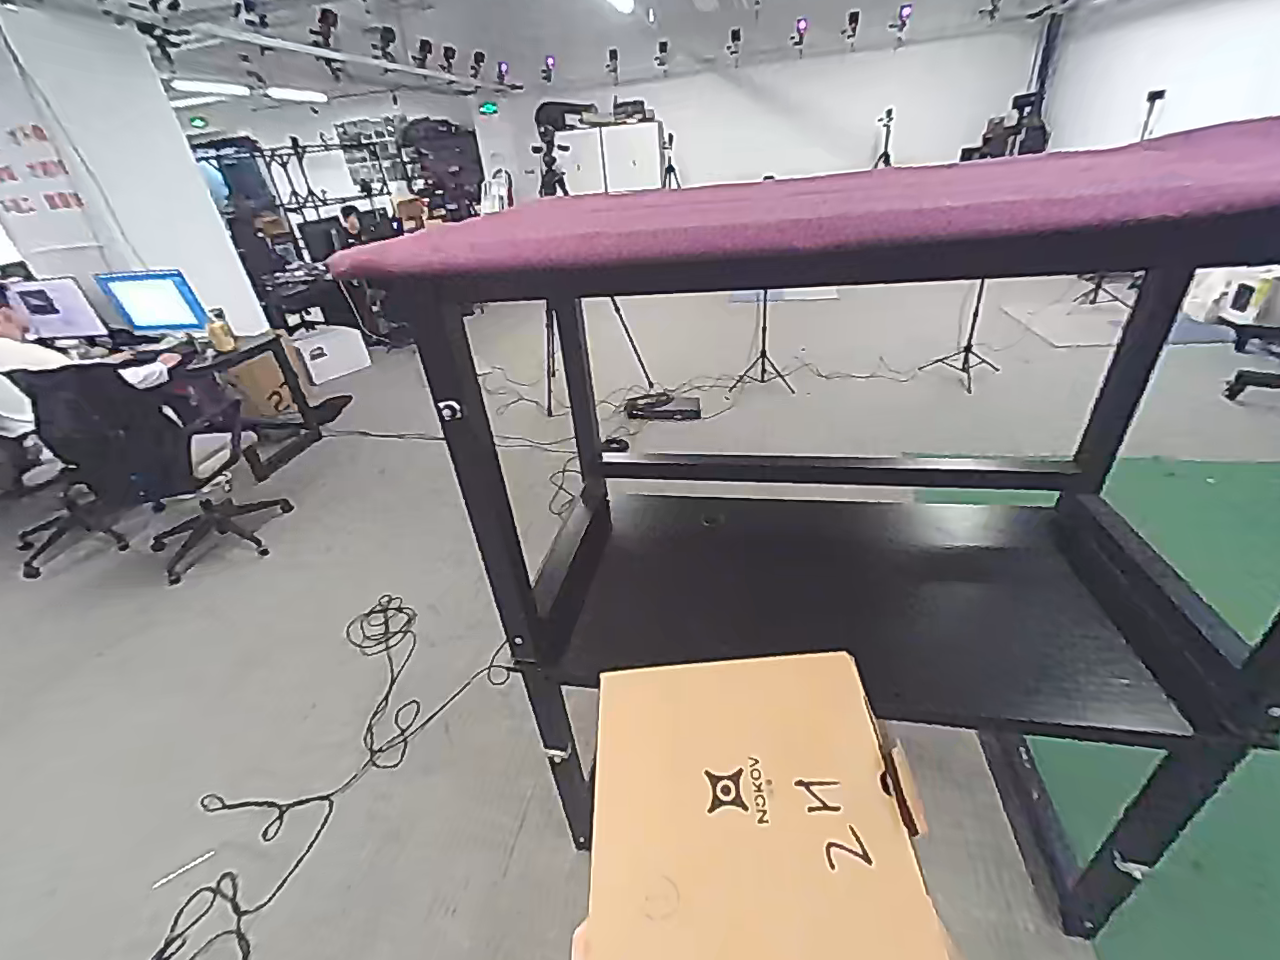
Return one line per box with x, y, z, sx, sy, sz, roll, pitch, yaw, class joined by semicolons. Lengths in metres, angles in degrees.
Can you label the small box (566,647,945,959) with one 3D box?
0.063;0.232;0.355;0.179;0.176;0.168;-6;43;5;small box
